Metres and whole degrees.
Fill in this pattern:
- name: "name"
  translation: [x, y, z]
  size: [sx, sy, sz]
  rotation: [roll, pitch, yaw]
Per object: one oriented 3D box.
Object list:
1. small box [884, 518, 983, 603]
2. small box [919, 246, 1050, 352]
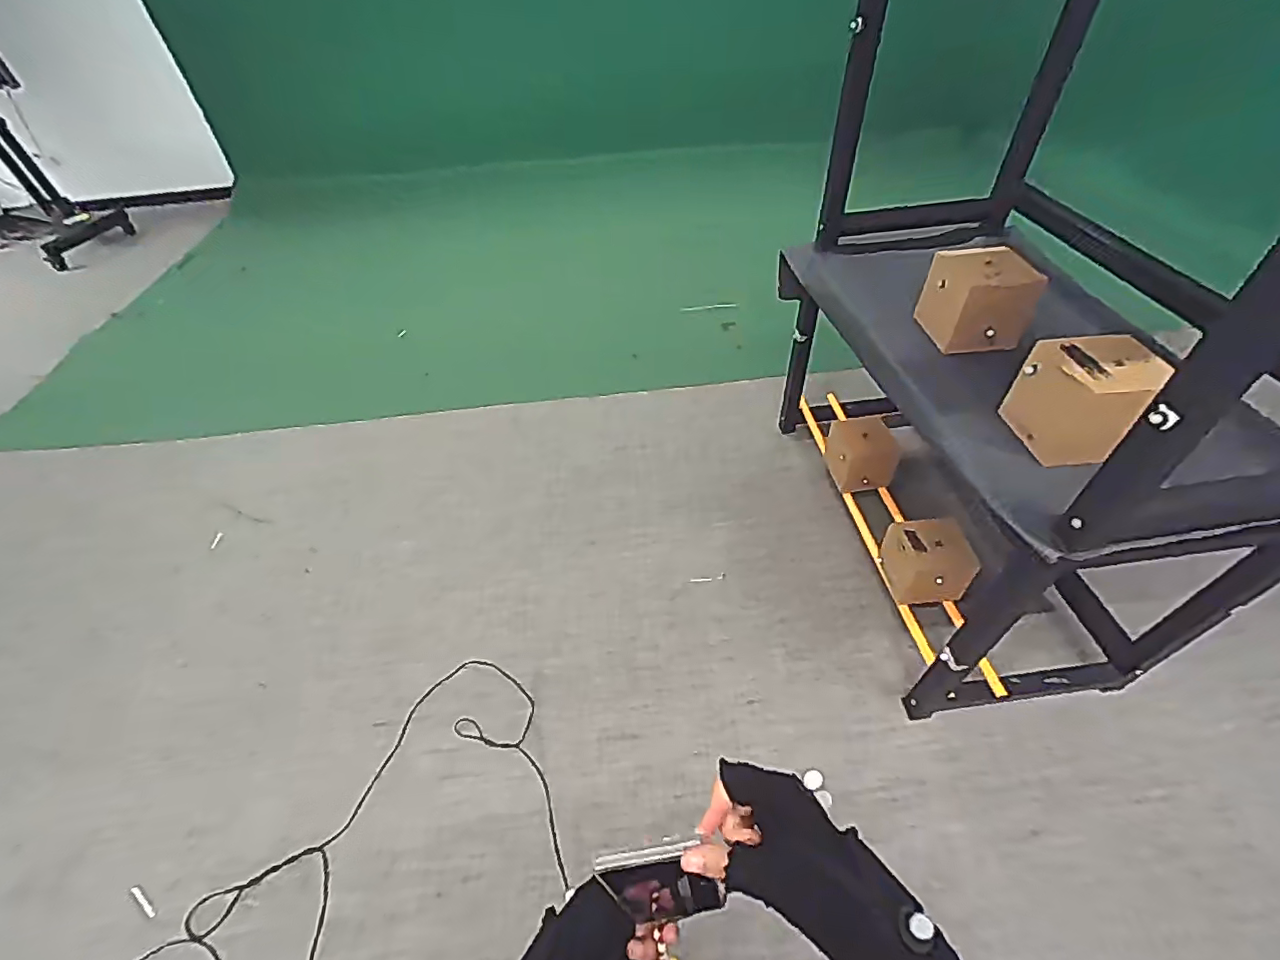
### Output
- name: "small box"
  translation: [0.793, 0.226, 1.489]
  size: [0.179, 0.176, 0.168]
  rotation: [-5, 47, 0]
- name: "small box"
  translation: [0.772, -0.414, 1.238]
  size: [0.168, 0.176, 0.179]
  rotation: [-5, 46, 0]
